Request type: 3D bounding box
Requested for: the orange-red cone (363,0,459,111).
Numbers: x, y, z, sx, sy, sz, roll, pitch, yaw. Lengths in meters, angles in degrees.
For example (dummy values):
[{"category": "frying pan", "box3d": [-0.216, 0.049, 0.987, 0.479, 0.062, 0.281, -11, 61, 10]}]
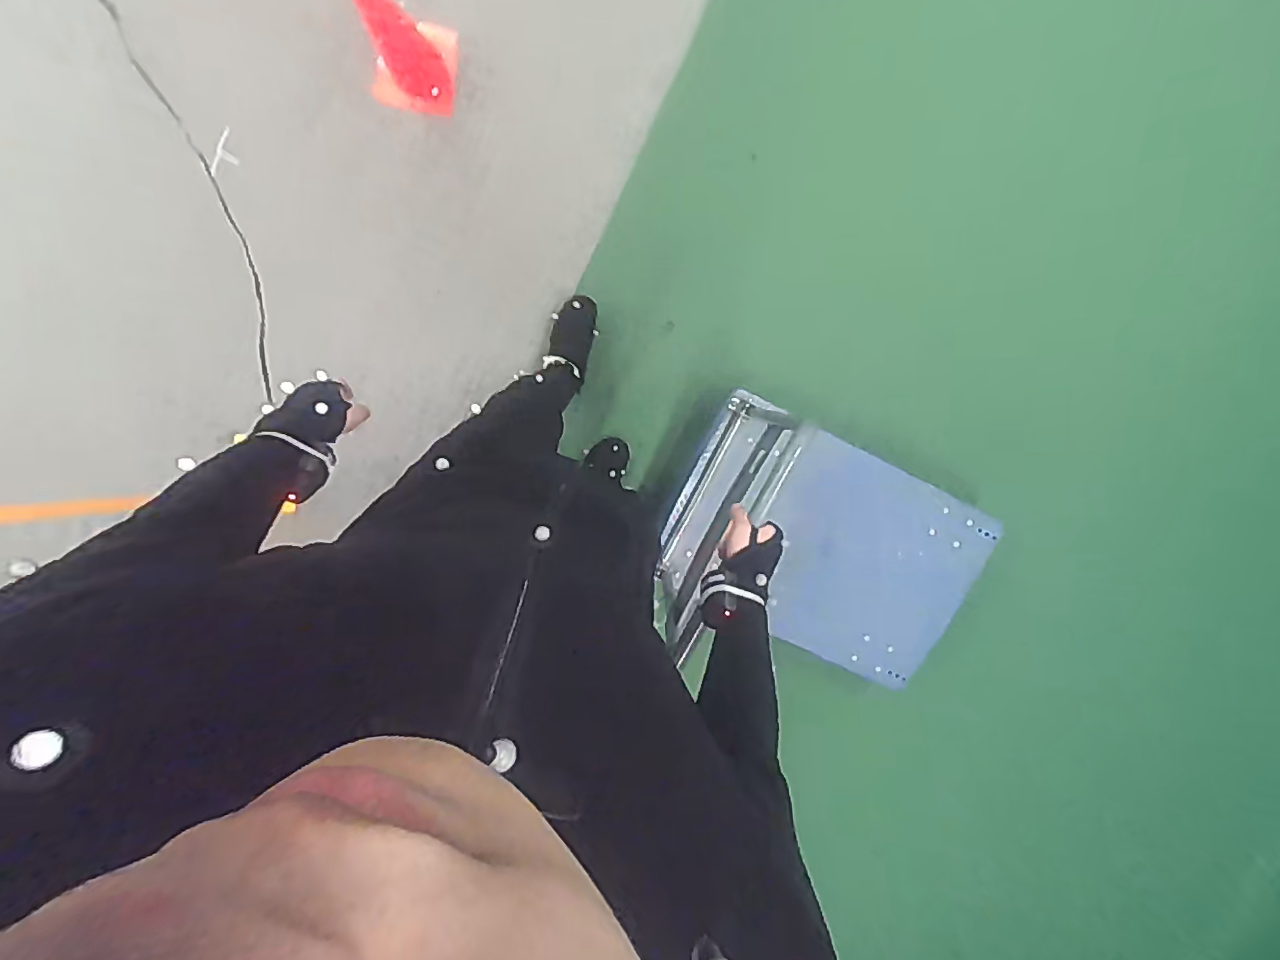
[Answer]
[{"category": "orange-red cone", "box3d": [-0.567, -1.045, 1.220, 0.198, 0.360, 0.199, 11, 99, -4]}]
